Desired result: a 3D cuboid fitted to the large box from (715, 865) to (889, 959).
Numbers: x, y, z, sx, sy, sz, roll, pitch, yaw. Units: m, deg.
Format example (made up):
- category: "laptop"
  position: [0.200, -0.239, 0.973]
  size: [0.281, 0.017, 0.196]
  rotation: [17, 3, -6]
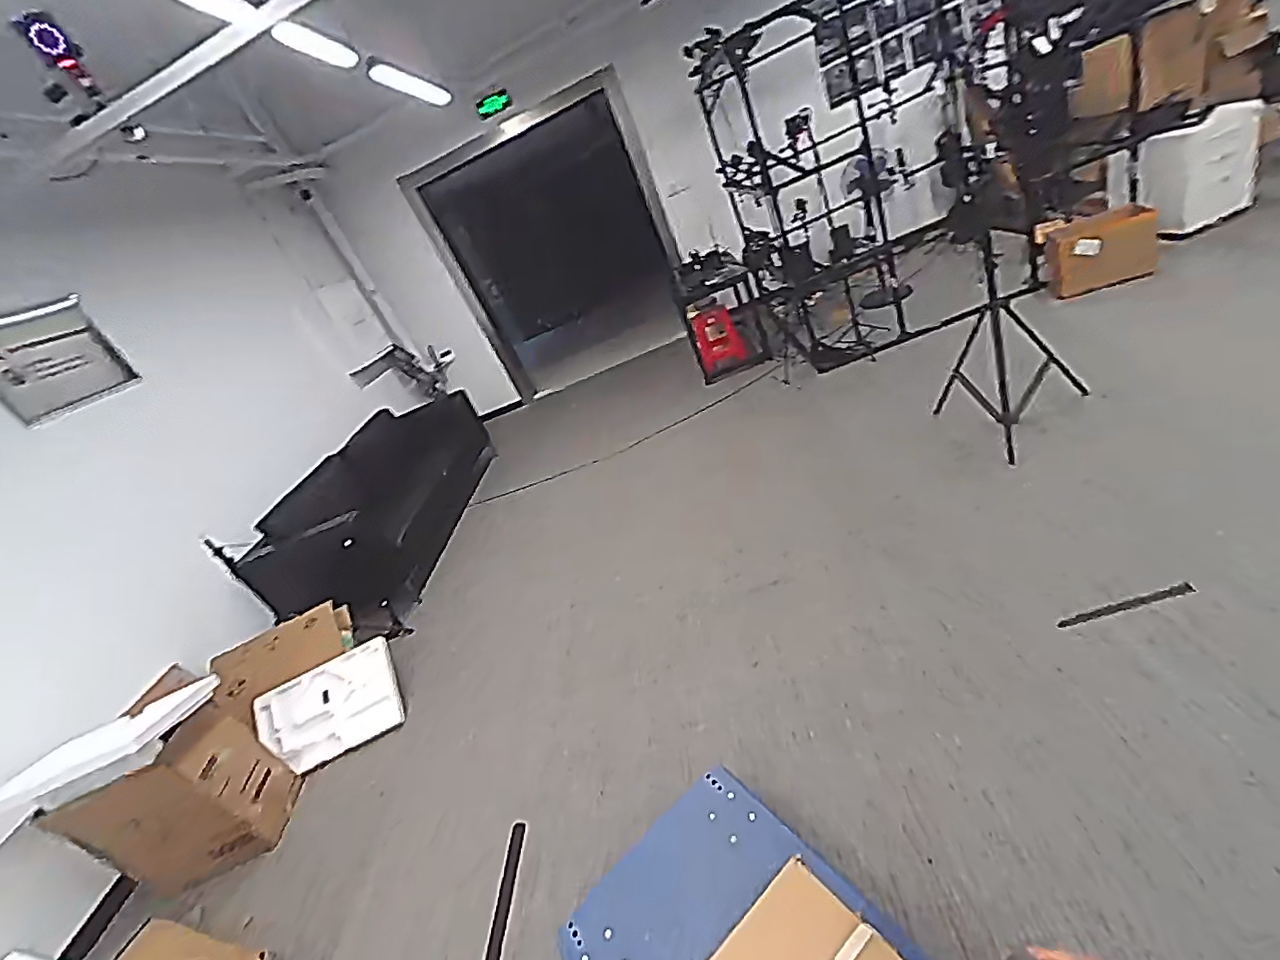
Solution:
- category: "large box"
  position: [0.264, 0.952, 0.842]
  size: [0.408, 0.320, 0.320]
  rotation: [-36, 28, -22]
